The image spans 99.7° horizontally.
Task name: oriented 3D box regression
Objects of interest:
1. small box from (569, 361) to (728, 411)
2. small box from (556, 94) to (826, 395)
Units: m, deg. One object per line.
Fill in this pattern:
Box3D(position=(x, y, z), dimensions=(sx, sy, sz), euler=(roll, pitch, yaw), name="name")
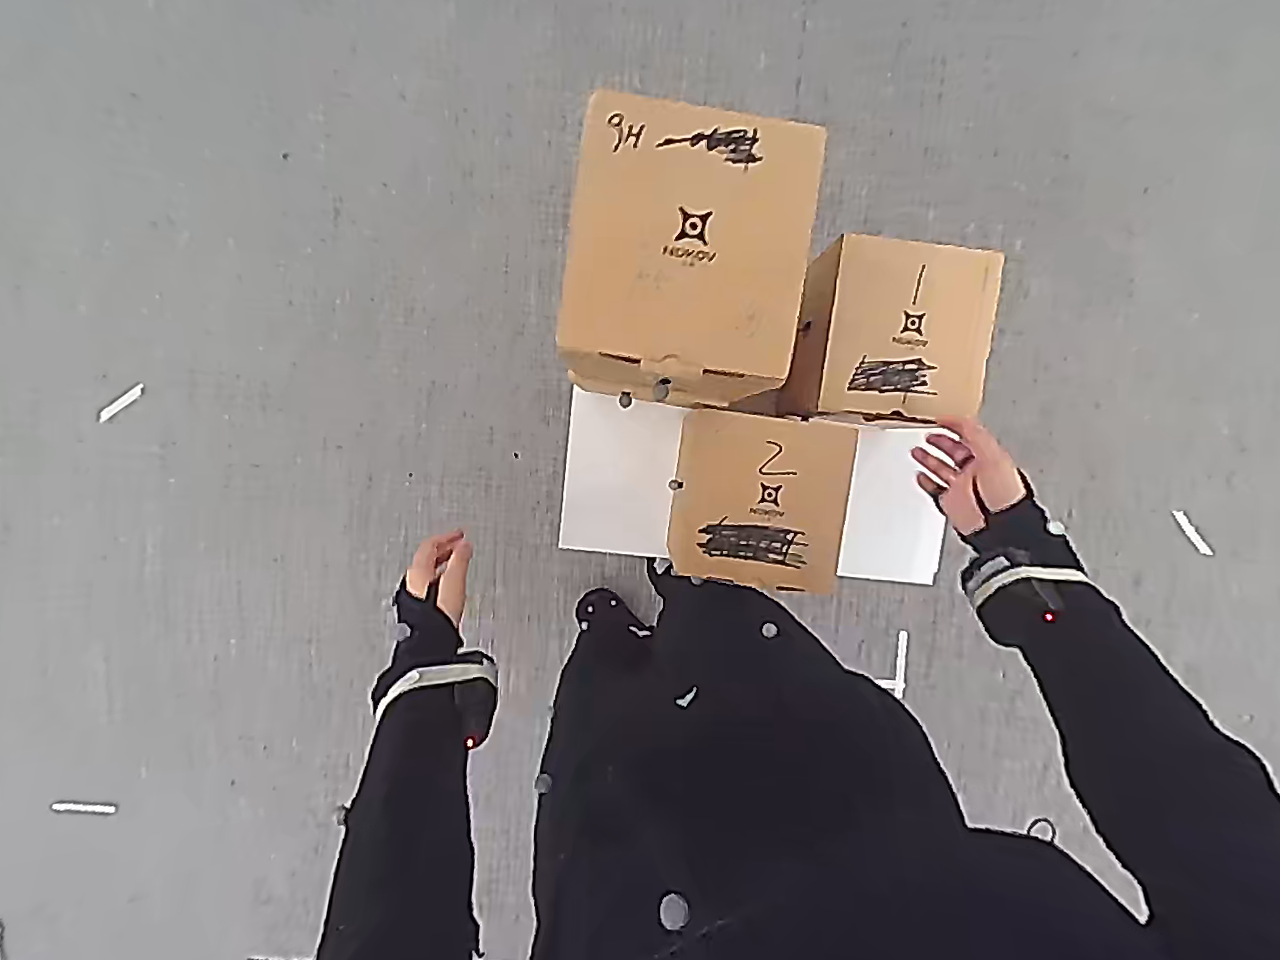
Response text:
Box3D(position=(0.021, -0.177, 0.615), dimensions=(0.168, 0.176, 0.179), euler=(9, 95, -2), name="small box")
Box3D(position=(0.033, -0.169, 0.451), dimensions=(0.168, 0.176, 0.179), euler=(8, 95, -2), name="small box")
